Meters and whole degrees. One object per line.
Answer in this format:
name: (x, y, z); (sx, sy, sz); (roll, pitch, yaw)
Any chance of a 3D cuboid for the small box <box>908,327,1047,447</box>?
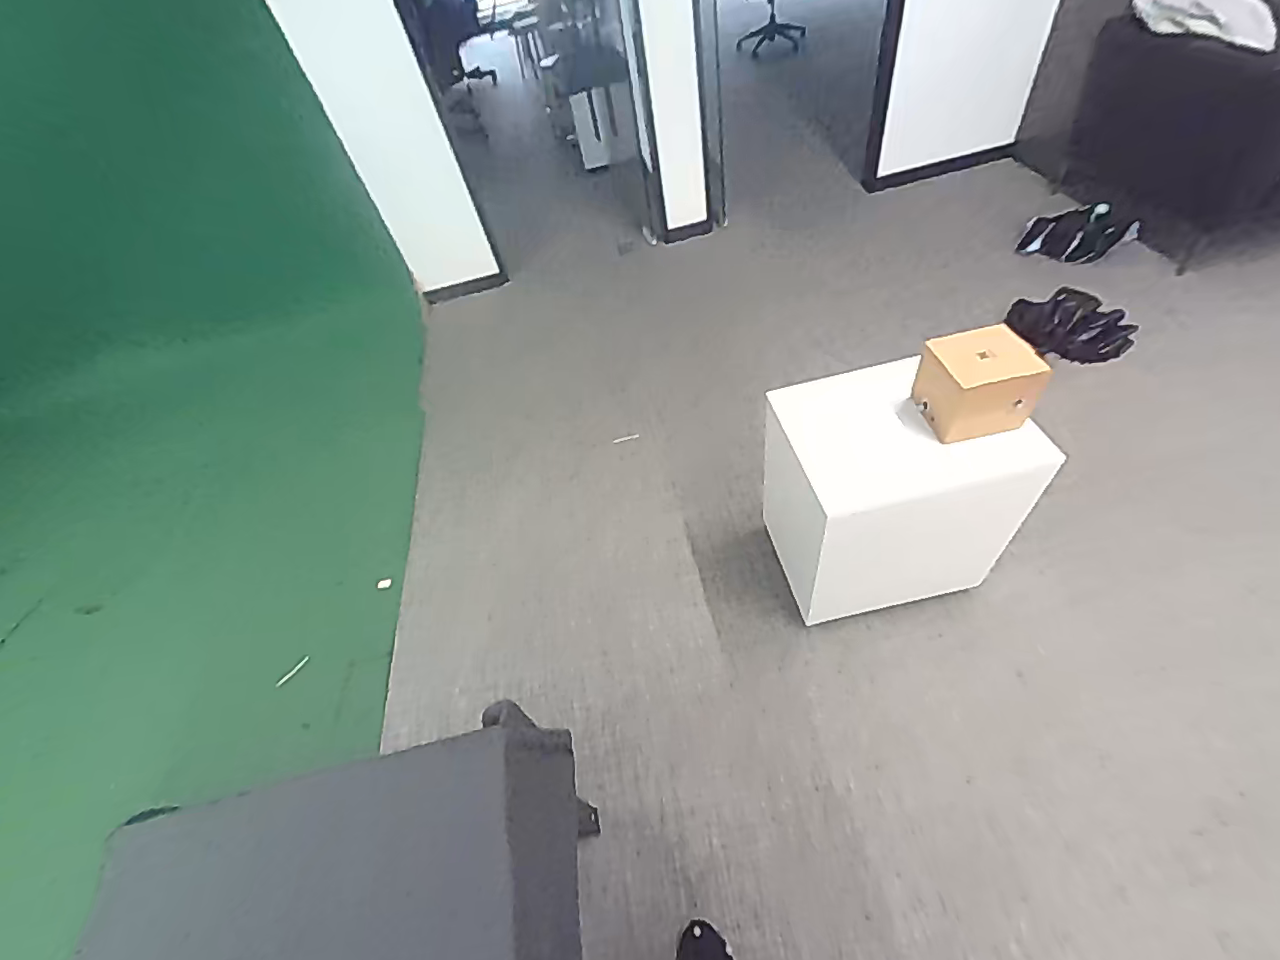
small box: (0.712, -0.197, 1.166); (0.179, 0.176, 0.168); (-14, 49, 3)
